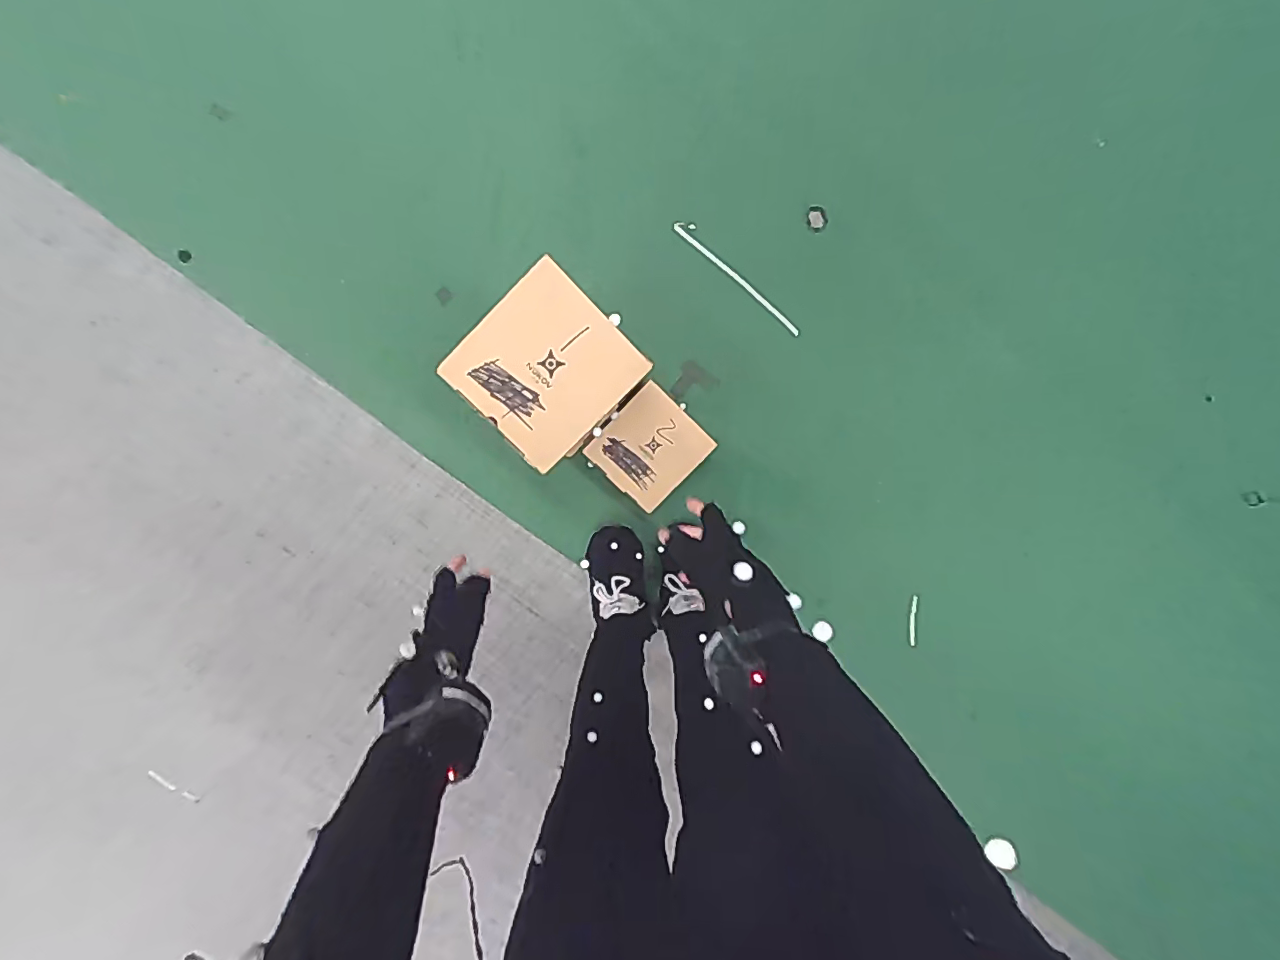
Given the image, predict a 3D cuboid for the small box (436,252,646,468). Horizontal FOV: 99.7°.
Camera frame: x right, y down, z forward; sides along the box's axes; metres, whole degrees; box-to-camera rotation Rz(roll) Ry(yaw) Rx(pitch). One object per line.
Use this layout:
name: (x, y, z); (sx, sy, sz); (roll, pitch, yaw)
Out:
small box: (-0.108, -0.141, 0.668); (0.179, 0.176, 0.168); (-44, 99, 6)
